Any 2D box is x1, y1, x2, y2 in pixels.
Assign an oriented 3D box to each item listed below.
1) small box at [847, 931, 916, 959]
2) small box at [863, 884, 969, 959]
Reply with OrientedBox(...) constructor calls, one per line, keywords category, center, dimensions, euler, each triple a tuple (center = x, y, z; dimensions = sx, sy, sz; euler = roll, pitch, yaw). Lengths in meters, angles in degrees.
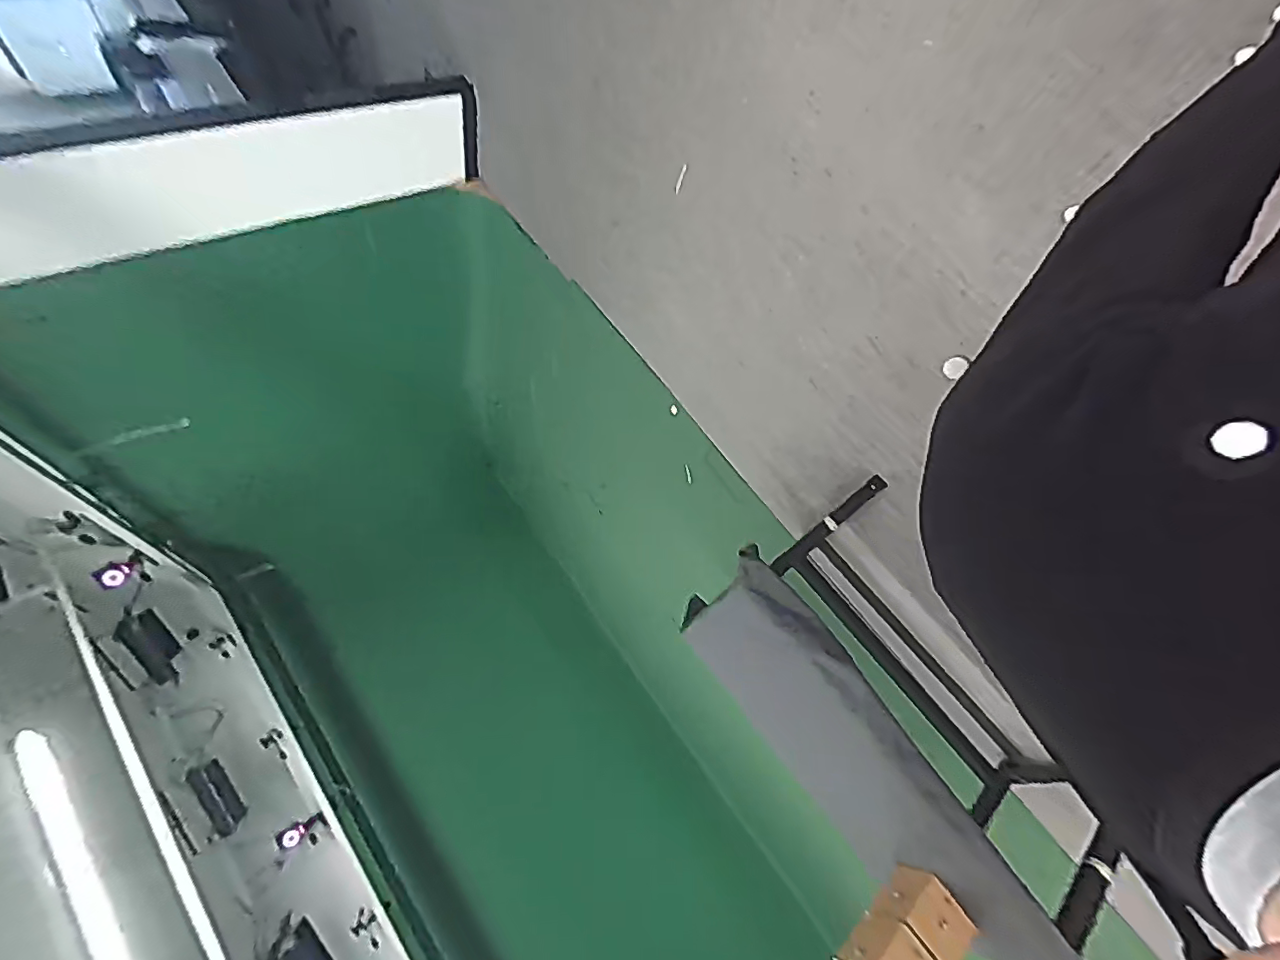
OrientedBox(category="small box", center=(0.643, 1.323, 1.400), dimensions=(0.168, 0.176, 0.179), euler=(53, 152, 17))
OrientedBox(category="small box", center=(0.765, 1.260, 1.488), dimensions=(0.168, 0.176, 0.179), euler=(53, 151, 15))
